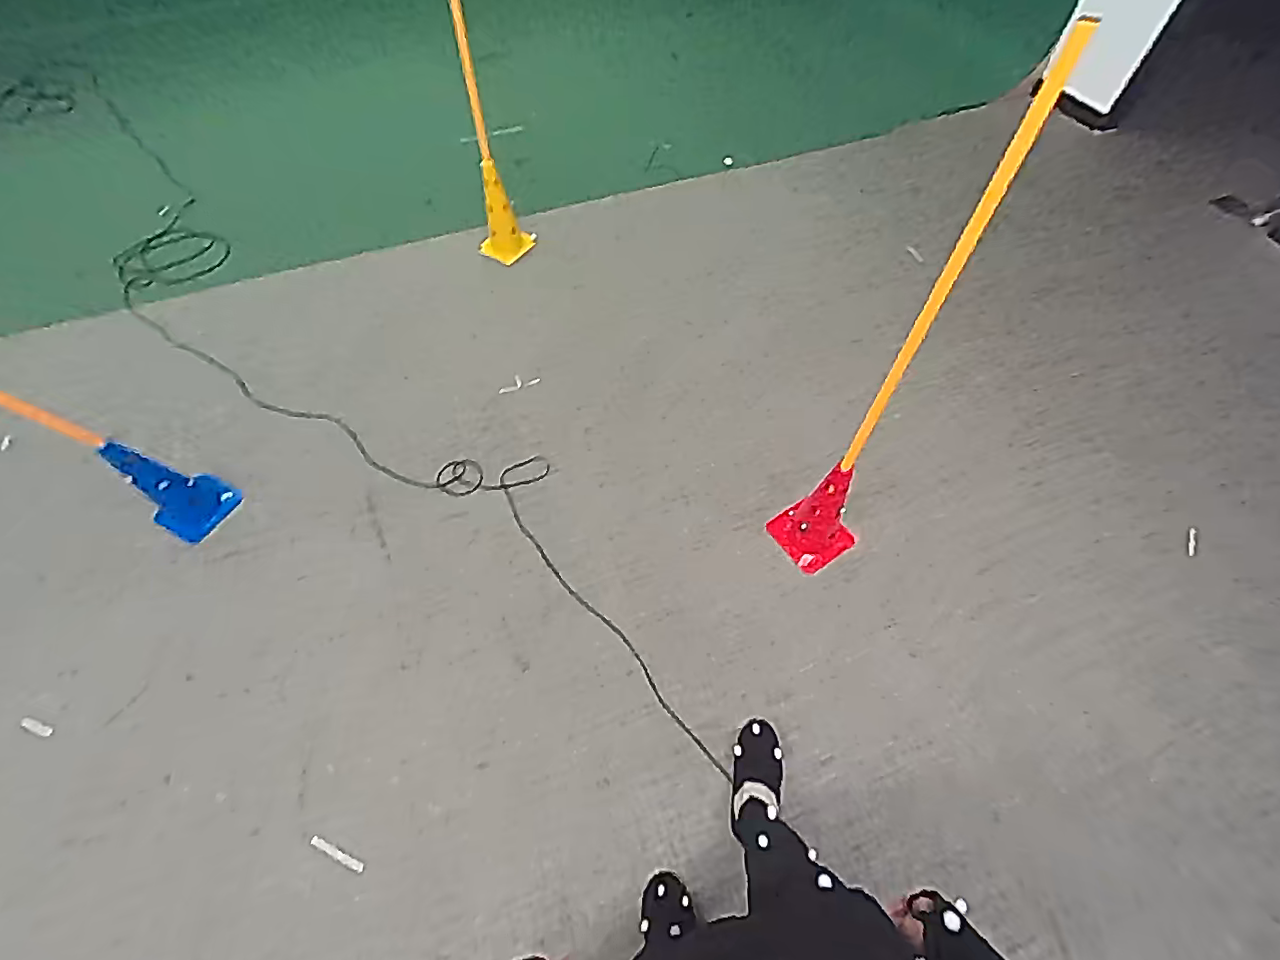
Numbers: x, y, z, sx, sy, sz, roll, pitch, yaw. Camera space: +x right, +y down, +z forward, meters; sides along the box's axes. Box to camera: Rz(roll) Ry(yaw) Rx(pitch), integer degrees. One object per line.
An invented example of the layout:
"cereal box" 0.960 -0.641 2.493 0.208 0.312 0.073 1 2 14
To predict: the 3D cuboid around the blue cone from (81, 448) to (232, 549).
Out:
"blue cone" -1.384 0.029 1.524 0.192 0.380 0.193 22 63 13
